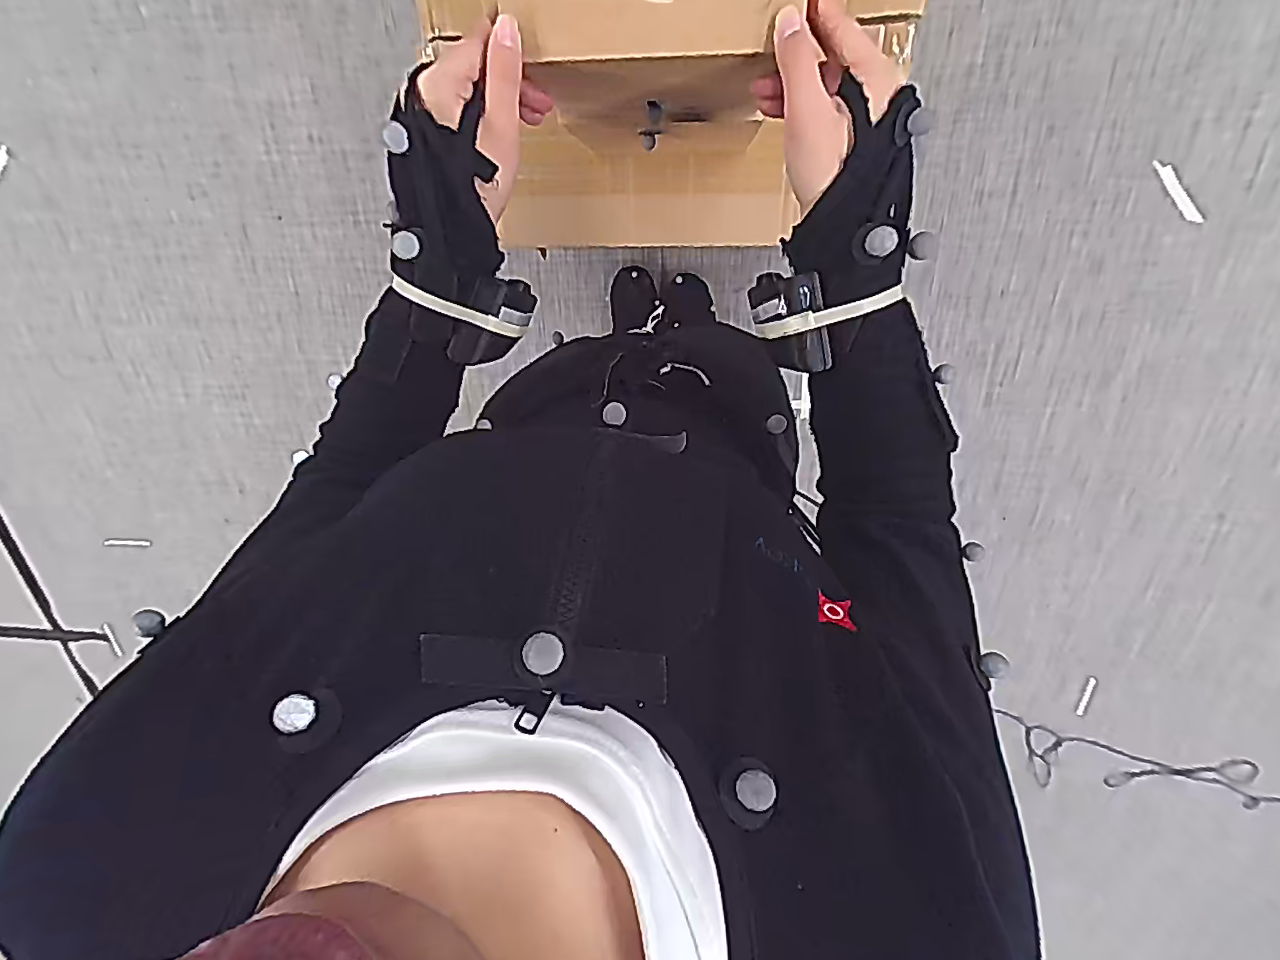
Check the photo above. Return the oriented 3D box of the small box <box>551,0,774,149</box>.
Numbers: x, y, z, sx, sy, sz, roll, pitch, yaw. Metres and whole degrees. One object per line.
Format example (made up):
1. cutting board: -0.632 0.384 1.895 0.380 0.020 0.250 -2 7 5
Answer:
1. small box: 0.023 -0.406 0.488 0.179 0.176 0.168 2 114 4
